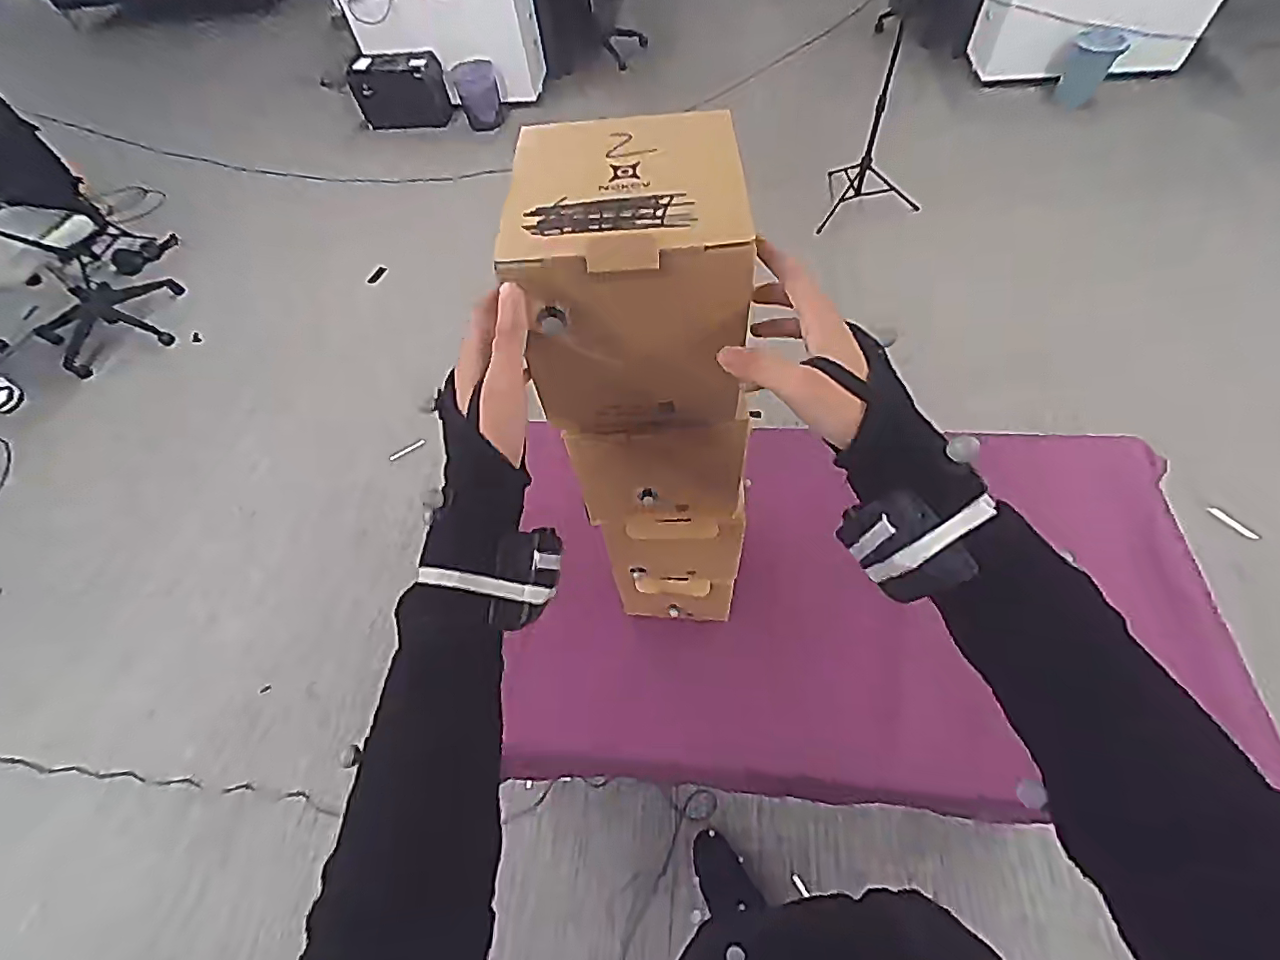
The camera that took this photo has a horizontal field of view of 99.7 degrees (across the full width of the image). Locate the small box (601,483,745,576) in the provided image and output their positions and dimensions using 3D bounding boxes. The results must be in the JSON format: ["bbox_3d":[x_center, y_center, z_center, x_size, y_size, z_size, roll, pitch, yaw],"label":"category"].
[{"bbox_3d":[0.047,0.019,0.713,0.168,0.176,0.179,-1,57,5],"label":"small box"}]

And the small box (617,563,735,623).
[{"bbox_3d":[0.063,0.108,0.850,0.168,0.176,0.179,2,58,8],"label":"small box"}]

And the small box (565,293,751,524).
[{"bbox_3d":[0.019,-0.071,0.580,0.168,0.176,0.179,-5,58,3],"label":"small box"}]
